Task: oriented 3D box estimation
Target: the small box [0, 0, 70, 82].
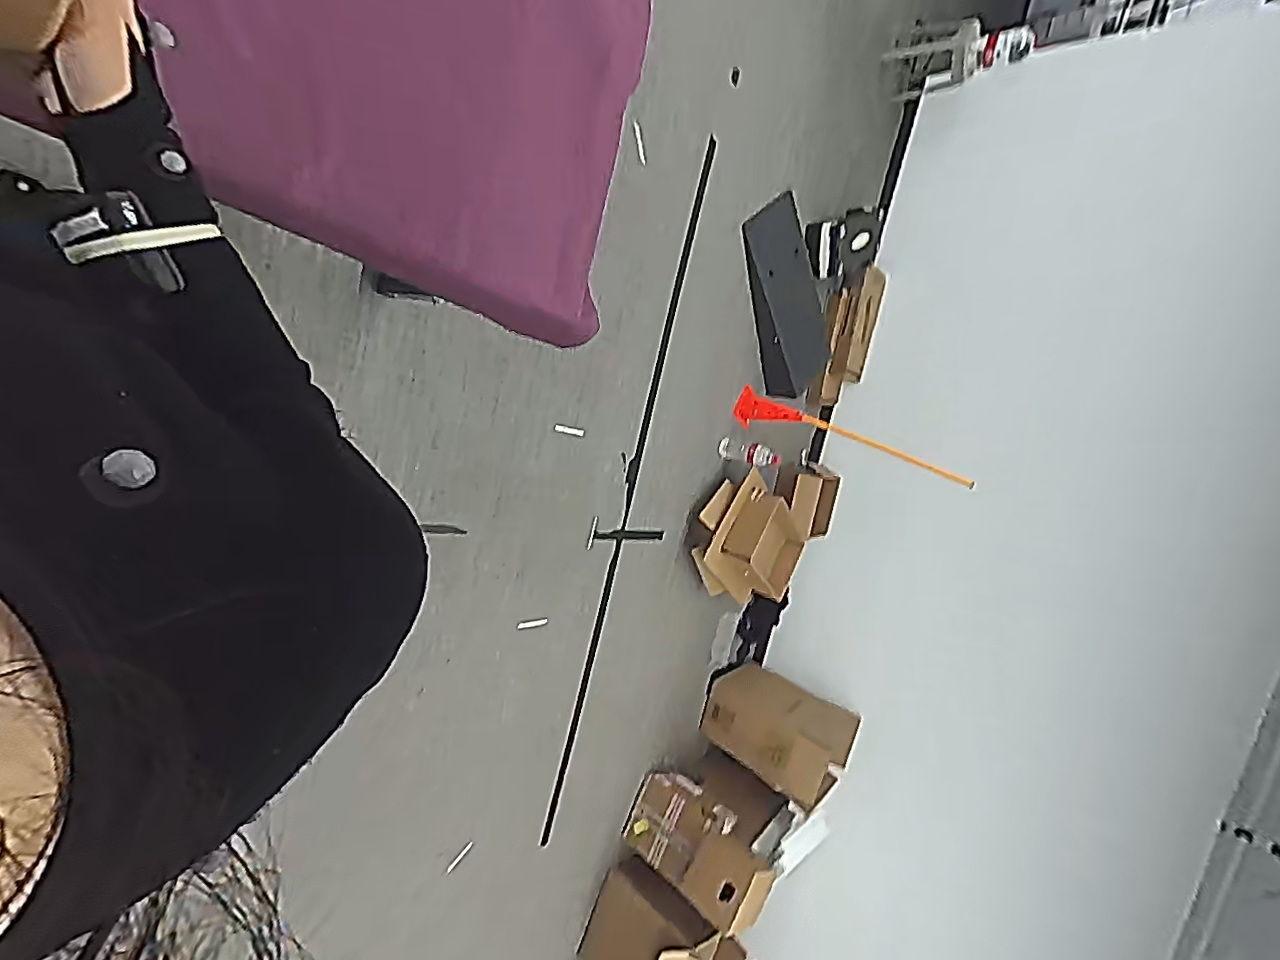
[{"bbox_3d":[-0.357,-0.312,0.220,0.168,0.176,0.179,-6,101,-53],"label":"small box"}]
